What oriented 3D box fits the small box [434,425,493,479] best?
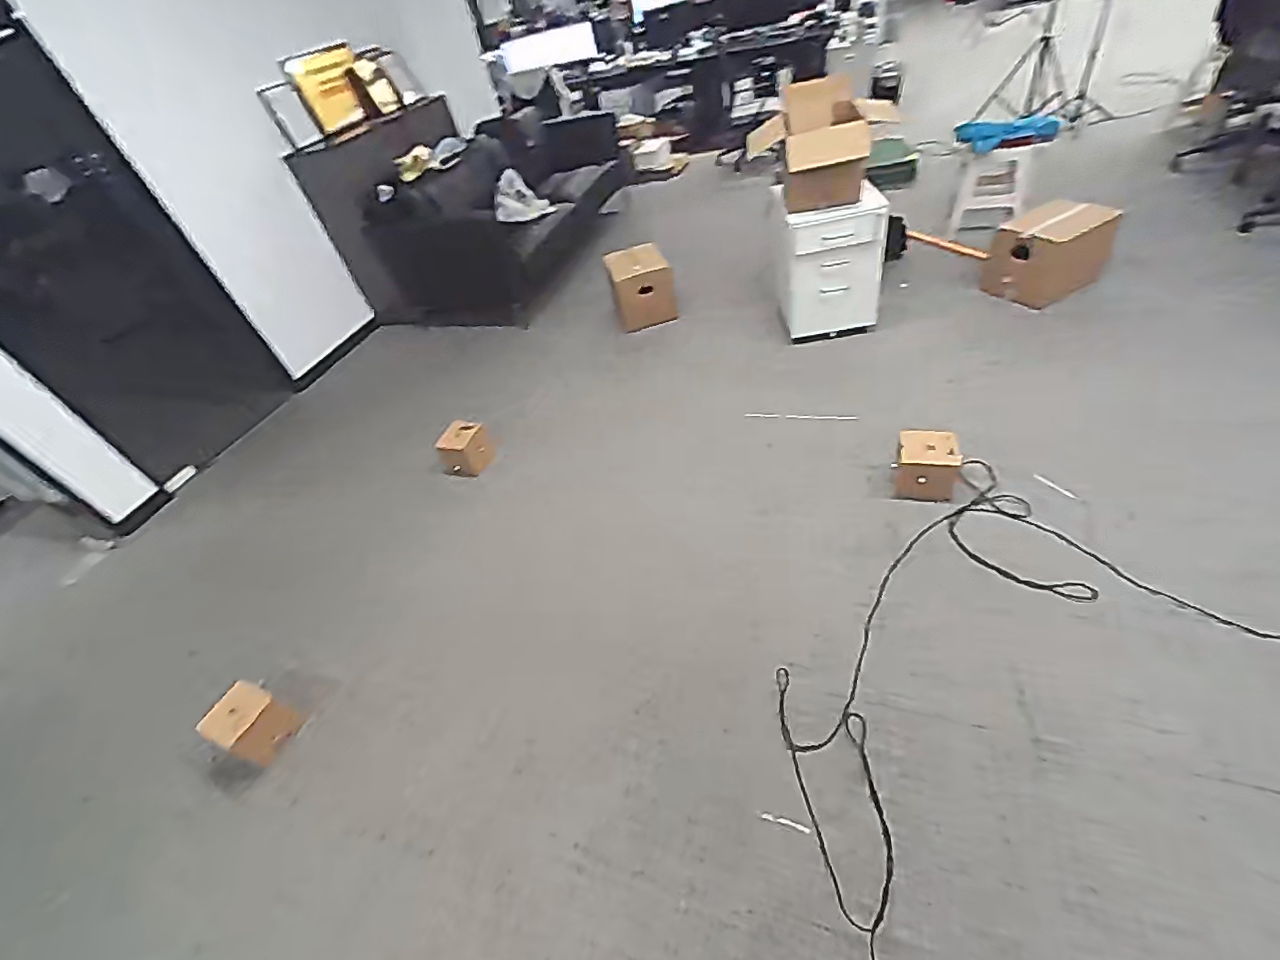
[{"bbox_3d":[-0.800,-0.129,2.481,0.168,0.176,0.179,6,47,22],"label":"small box"}]

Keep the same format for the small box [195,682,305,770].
[{"bbox_3d":[-1.185,0.755,1.653,0.179,0.176,0.168,10,49,25],"label":"small box"}]

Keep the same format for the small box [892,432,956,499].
[{"bbox_3d":[0.970,-0.049,1.862,0.179,0.176,0.168,2,46,20],"label":"small box"}]
